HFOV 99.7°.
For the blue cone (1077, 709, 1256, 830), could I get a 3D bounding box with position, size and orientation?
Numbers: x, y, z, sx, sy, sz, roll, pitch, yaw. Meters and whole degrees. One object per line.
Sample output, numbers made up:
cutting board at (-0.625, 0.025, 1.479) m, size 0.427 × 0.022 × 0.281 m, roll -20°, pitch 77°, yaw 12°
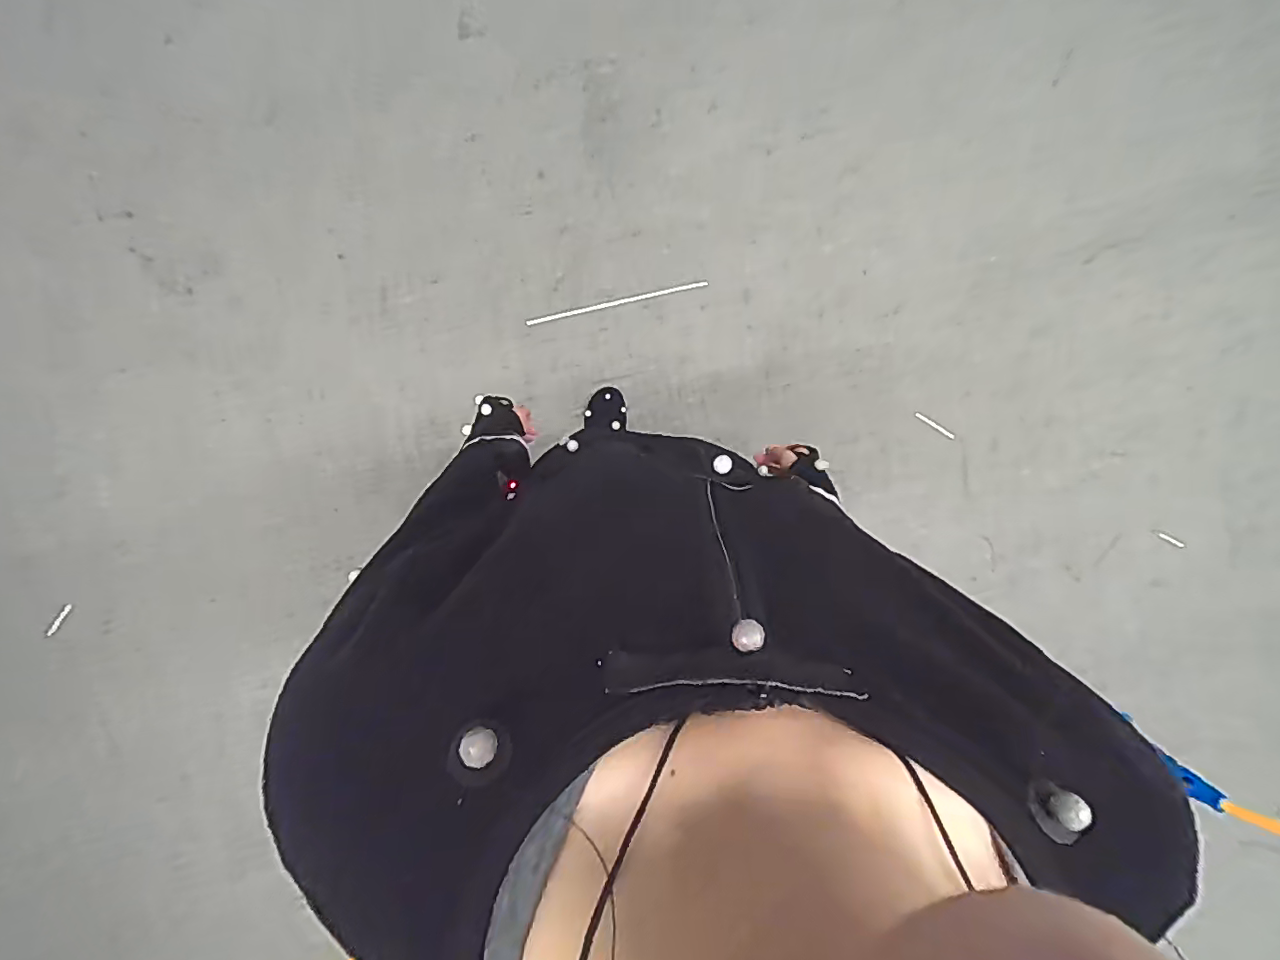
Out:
blue cone at (1.479, 0.831, 1.515) m, size 0.192 × 0.380 × 0.193 m, roll 31°, pitch 90°, yaw -6°
